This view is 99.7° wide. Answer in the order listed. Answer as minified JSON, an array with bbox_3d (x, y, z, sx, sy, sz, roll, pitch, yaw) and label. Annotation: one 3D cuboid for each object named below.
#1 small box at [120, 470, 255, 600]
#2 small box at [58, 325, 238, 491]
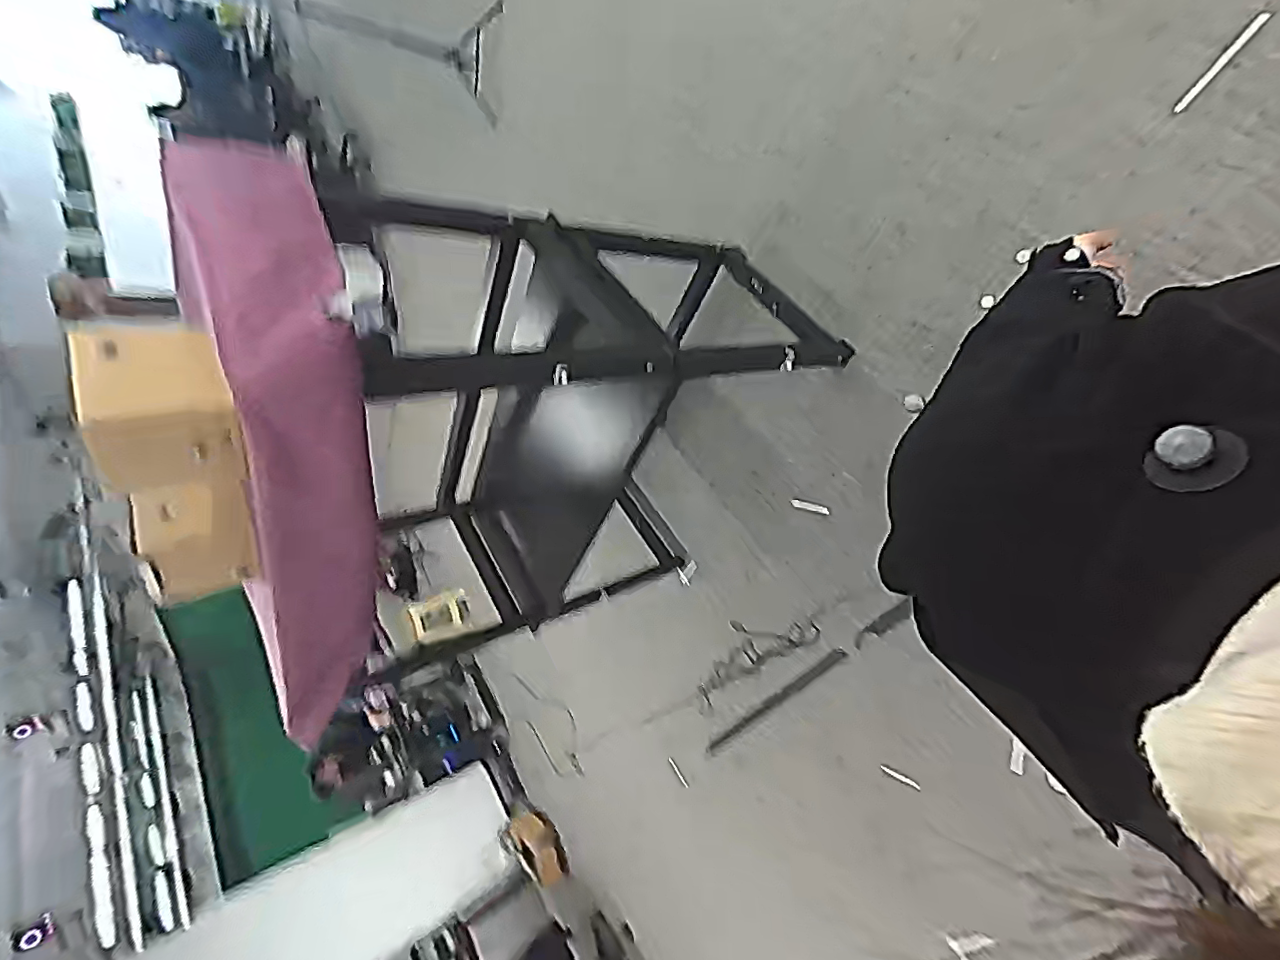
[{"bbox_3d":[-0.853,0.093,1.034,0.179,0.176,0.168,51,135,29],"label":"small box"},{"bbox_3d":[-0.720,-0.110,0.807,0.179,0.176,0.168,57,139,23],"label":"small box"}]
